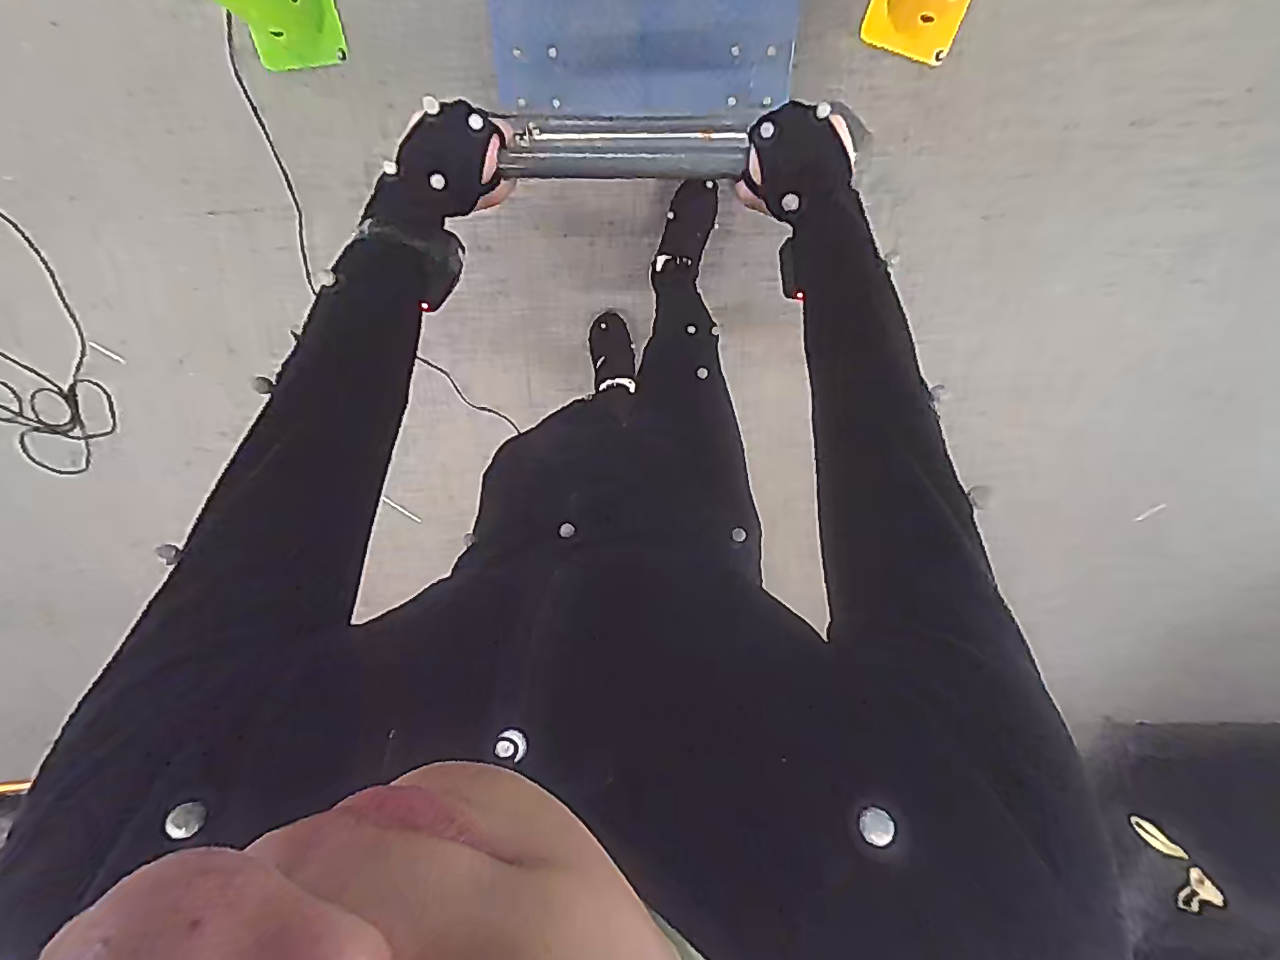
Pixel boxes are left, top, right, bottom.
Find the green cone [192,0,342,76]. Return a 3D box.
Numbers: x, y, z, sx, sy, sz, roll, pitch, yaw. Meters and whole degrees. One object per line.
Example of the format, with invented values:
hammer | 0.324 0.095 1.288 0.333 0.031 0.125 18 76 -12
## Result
green cone | -0.758 -0.903 0.990 0.202 0.368 0.200 -4 118 5
